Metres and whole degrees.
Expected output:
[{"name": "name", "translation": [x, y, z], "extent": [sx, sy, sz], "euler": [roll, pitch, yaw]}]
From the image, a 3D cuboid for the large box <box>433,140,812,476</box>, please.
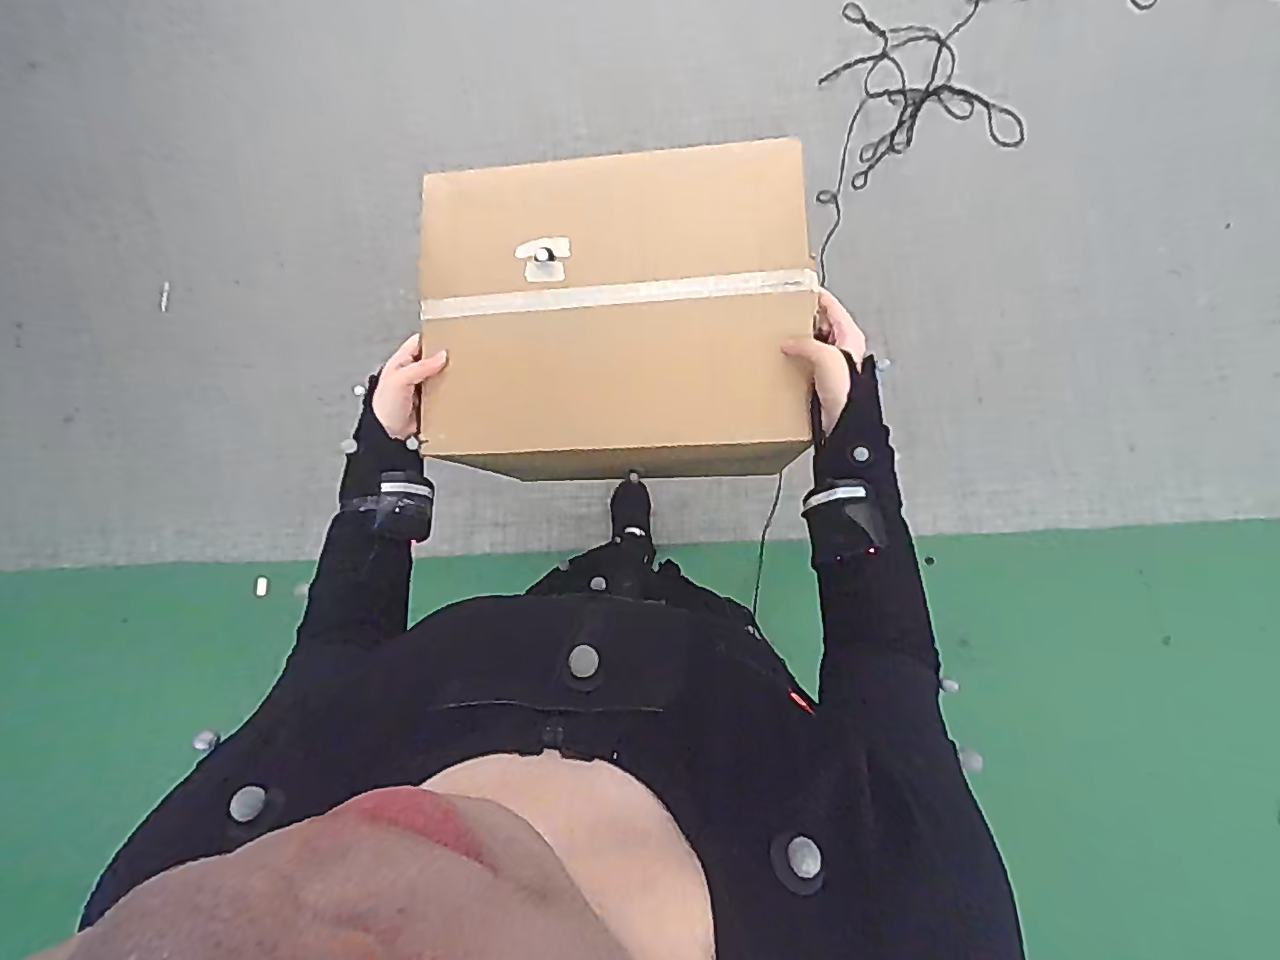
[{"name": "large box", "translation": [-0.008, -0.178, 0.718], "extent": [0.408, 0.320, 0.320], "euler": [-2, 84, 8]}]
